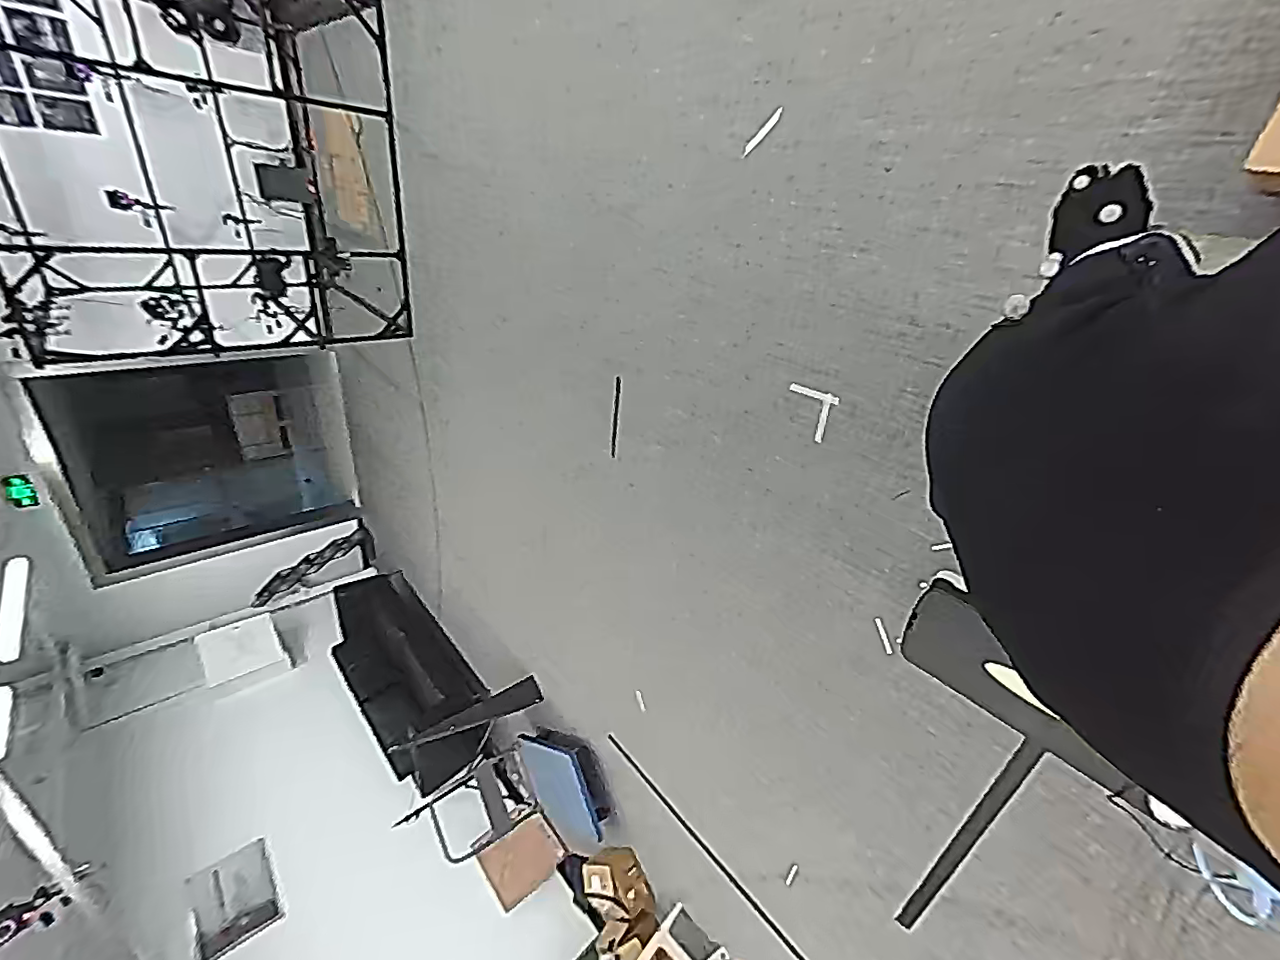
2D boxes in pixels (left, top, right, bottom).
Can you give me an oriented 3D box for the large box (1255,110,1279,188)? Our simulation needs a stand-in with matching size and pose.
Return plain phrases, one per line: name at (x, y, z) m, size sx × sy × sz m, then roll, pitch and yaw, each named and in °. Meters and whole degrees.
large box at (1.113, -0.532, 0.658) m, size 0.408 × 0.320 × 0.320 m, roll 33°, pitch 128°, yaw 38°
